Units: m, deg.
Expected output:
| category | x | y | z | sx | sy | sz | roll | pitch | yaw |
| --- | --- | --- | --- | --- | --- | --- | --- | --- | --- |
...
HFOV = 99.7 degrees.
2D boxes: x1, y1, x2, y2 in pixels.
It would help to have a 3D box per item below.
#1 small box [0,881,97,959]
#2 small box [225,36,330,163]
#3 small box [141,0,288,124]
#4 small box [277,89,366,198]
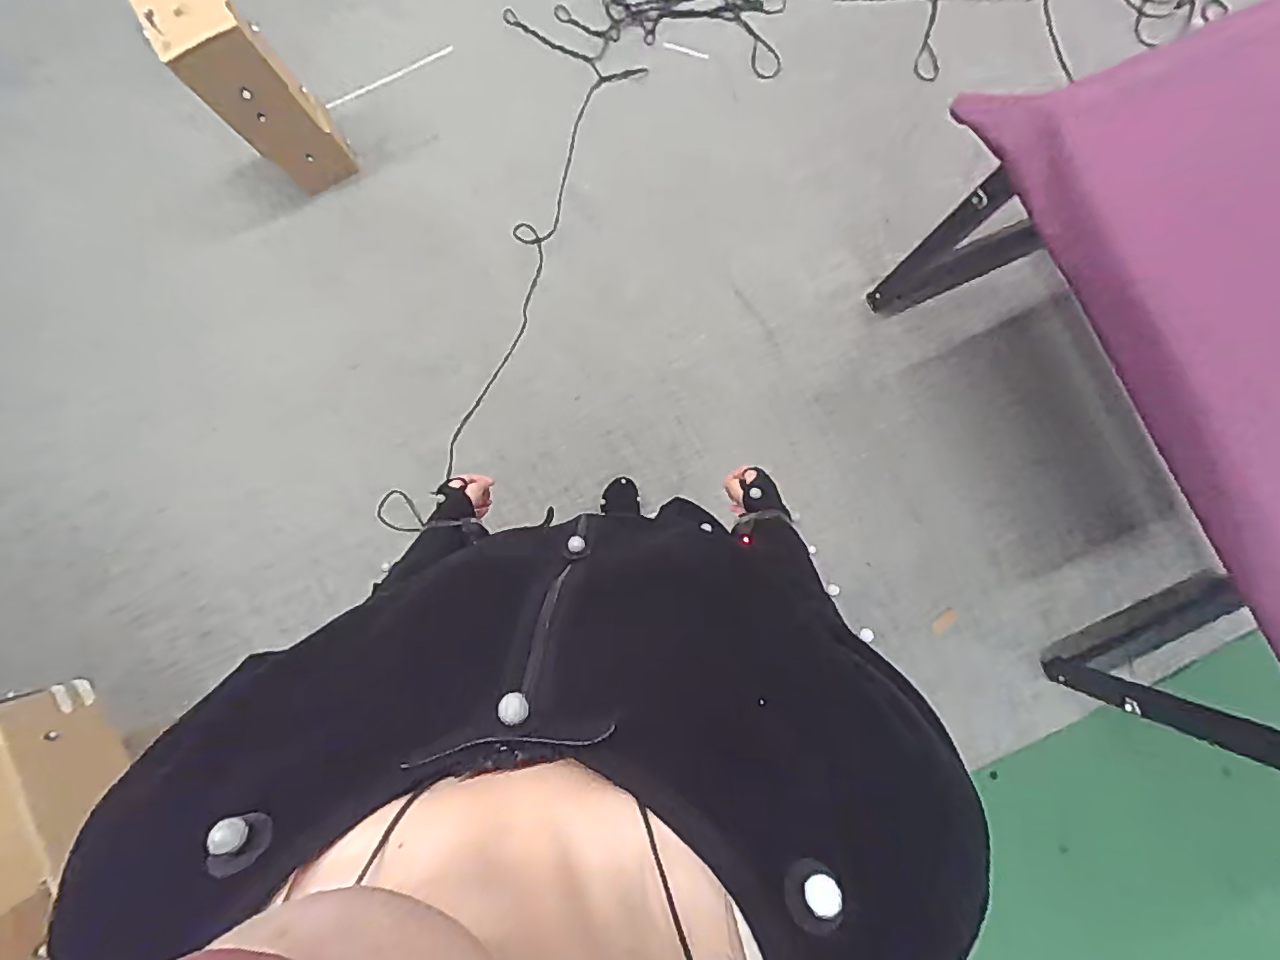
| category | x | y | z | sx | sy | sz | roll | pitch | yaw |
| --- | --- | --- | --- | --- | --- | --- | --- | --- | --- |
| small box | -1.146 | 0.866 | 0.965 | 0.168 | 0.176 | 0.179 | -23 | 85 | -1 |
| small box | -0.936 | -0.950 | 1.367 | 0.179 | 0.176 | 0.168 | -26 | 87 | -1 |
| small box | -0.928 | -0.950 | 1.203 | 0.179 | 0.176 | 0.168 | -28 | 86 | -2 |
| small box | -0.923 | -0.942 | 1.531 | 0.179 | 0.176 | 0.168 | -26 | 86 | -1 |
